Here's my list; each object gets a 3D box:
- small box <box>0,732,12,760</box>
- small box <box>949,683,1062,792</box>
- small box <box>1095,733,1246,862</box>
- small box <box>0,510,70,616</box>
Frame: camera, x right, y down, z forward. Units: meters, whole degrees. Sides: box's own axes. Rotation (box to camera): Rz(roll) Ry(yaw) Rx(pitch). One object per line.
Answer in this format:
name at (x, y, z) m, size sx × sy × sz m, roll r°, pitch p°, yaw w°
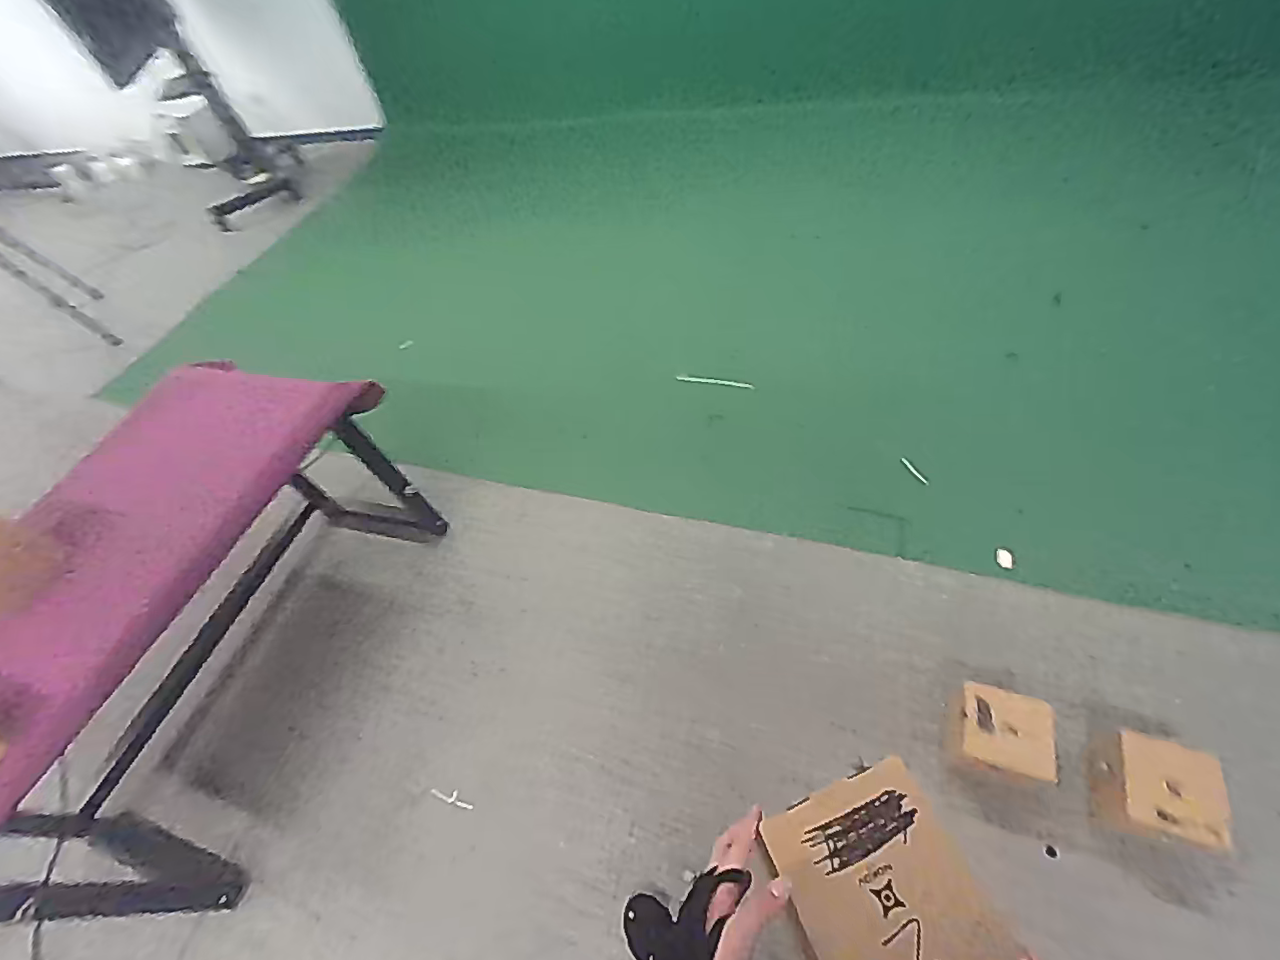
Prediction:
small box at (-1.238, 0.481, 0.892) m, size 0.168 × 0.176 × 0.179 m, roll 9°, pitch 56°, yaw 21°
small box at (0.826, 0.592, 1.236) m, size 0.179 × 0.176 × 0.168 m, roll 11°, pitch 58°, yaw 20°
small box at (1.085, 0.662, 1.126) m, size 0.168 × 0.176 × 0.179 m, roll 13°, pitch 57°, yaw 21°
small box at (-1.405, 0.169, 1.165) m, size 0.168 × 0.176 × 0.179 m, roll 8°, pitch 57°, yaw 19°
